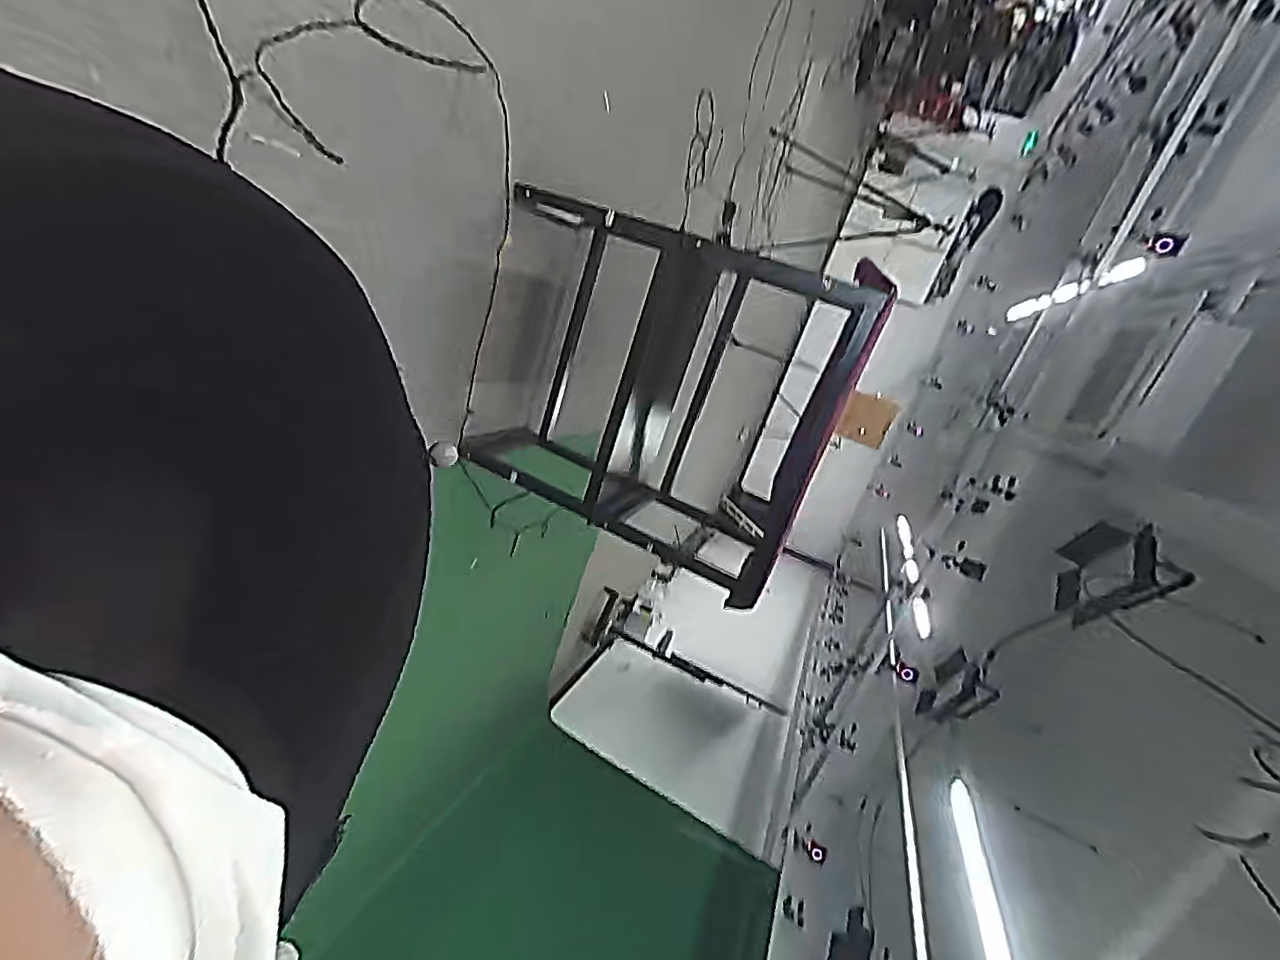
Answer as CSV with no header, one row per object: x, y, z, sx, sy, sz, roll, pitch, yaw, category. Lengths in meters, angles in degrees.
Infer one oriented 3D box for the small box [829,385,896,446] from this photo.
0.783,-0.233,1.922,0.179,0.176,0.168,-28,140,-67,small box
